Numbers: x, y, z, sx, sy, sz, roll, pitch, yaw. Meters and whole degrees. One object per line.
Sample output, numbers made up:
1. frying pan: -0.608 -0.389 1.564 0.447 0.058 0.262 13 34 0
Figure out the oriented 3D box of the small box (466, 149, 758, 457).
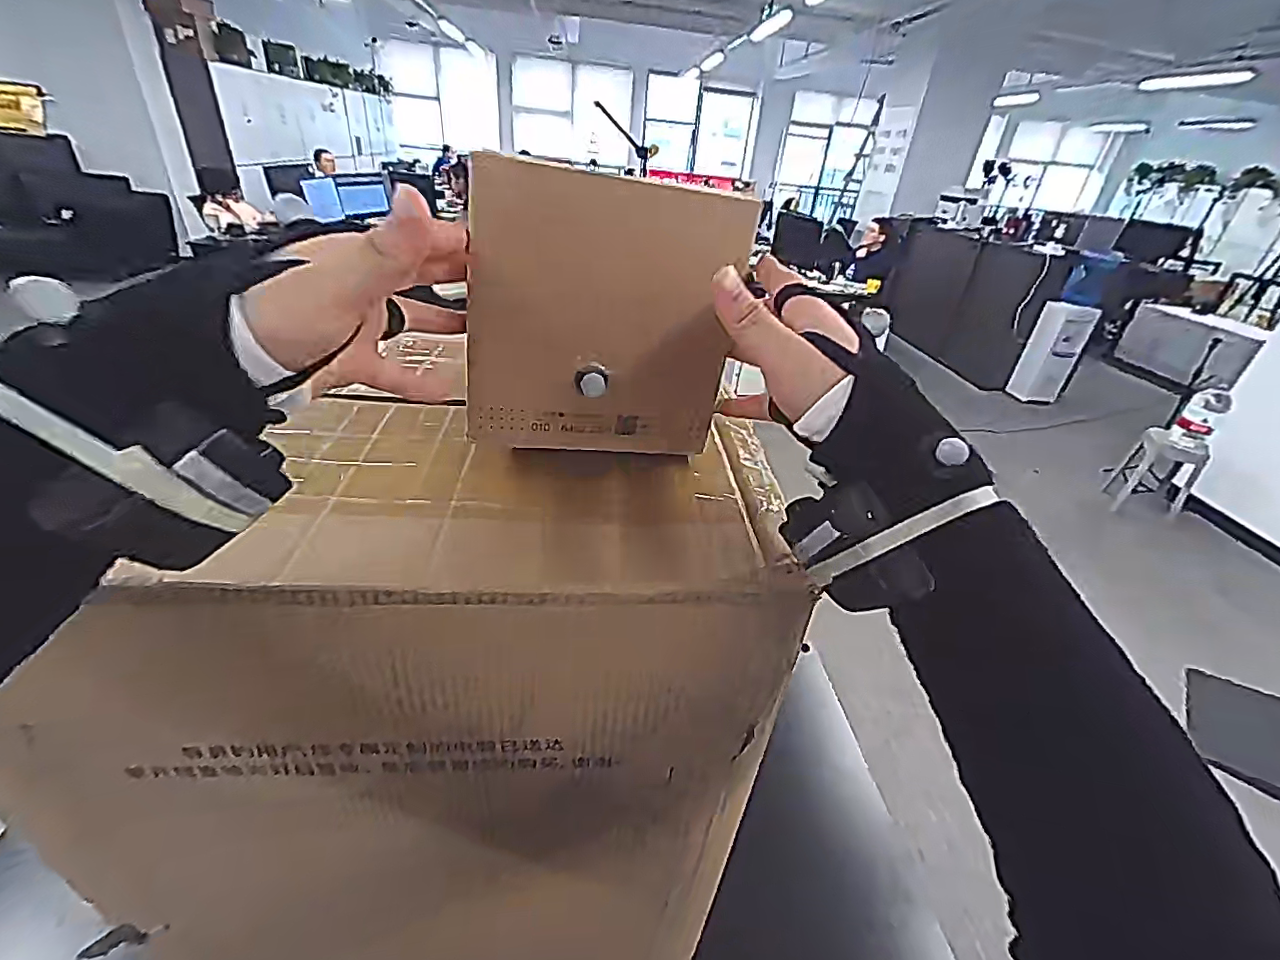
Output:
1. small box: -0.039 -0.131 0.402 0.168 0.176 0.179 1 30 -16
